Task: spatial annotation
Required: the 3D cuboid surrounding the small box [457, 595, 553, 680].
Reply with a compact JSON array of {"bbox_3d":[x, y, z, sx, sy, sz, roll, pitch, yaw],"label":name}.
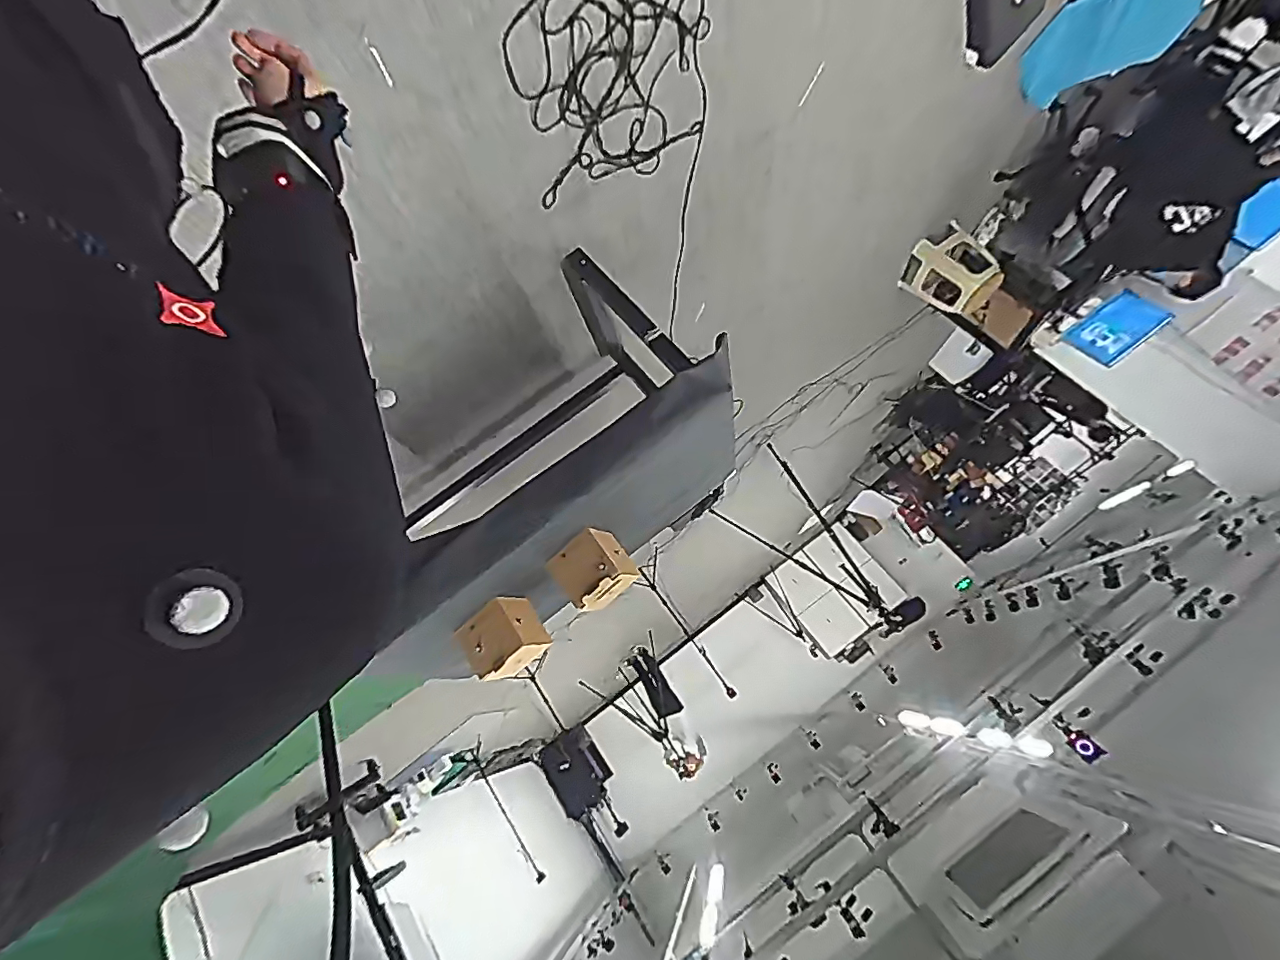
[{"bbox_3d":[-0.392,0.448,1.563,0.168,0.176,0.179,-40,159,6],"label":"small box"}]
